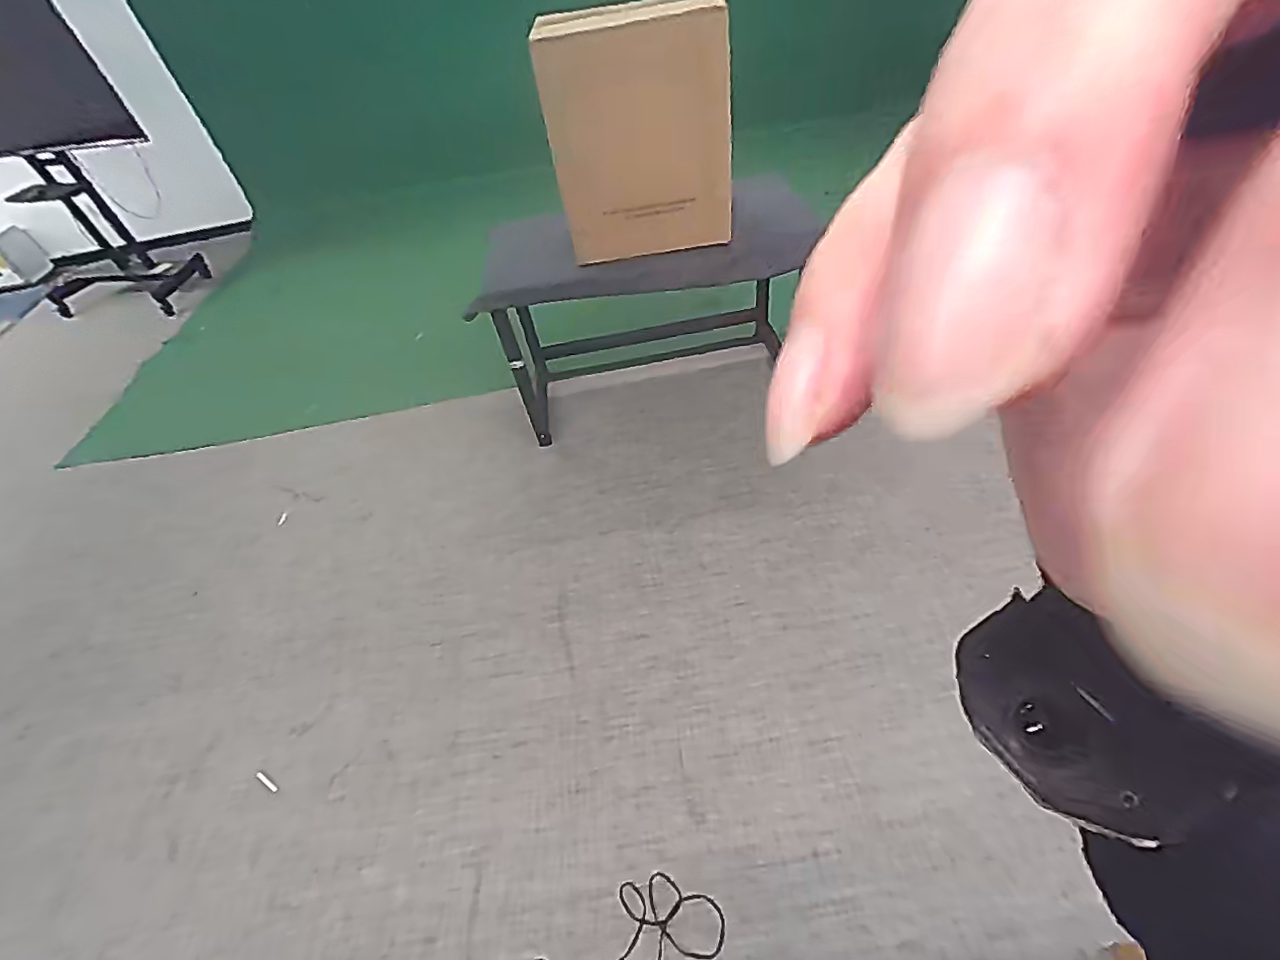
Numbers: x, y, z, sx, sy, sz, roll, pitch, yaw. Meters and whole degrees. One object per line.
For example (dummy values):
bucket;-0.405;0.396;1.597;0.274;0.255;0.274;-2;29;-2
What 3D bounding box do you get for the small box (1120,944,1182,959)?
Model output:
small box;1.046;0.953;0.981;0.179;0.176;0.168;-5;47;4
